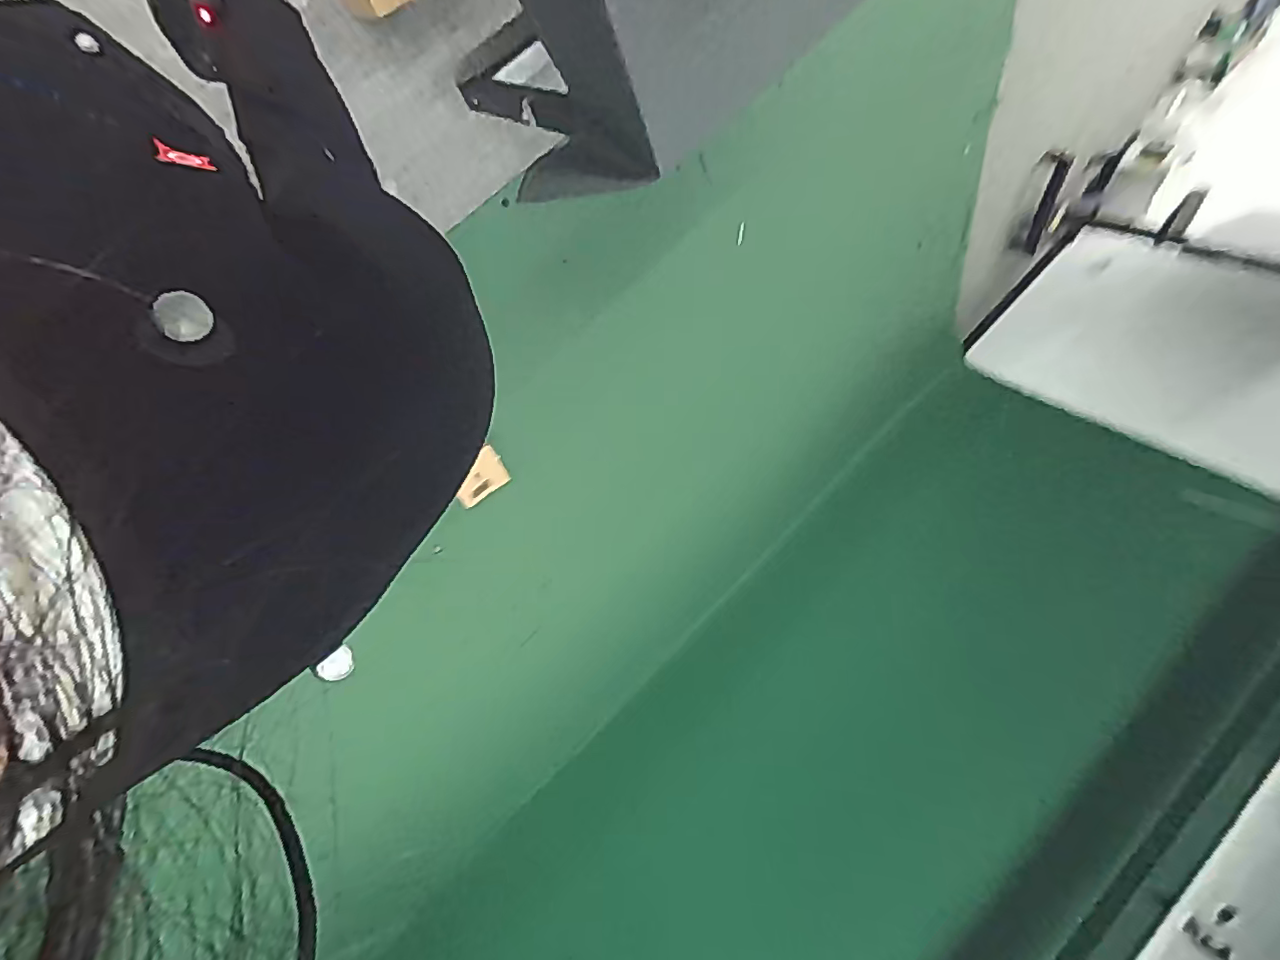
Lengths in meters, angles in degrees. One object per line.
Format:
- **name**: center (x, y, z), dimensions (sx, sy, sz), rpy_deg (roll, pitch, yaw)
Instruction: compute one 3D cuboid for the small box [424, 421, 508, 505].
- **small box**: center (-0.563, -0.059, 1.752), dimensions (0.168, 0.176, 0.179), rpy_deg (-39, 142, -17)
